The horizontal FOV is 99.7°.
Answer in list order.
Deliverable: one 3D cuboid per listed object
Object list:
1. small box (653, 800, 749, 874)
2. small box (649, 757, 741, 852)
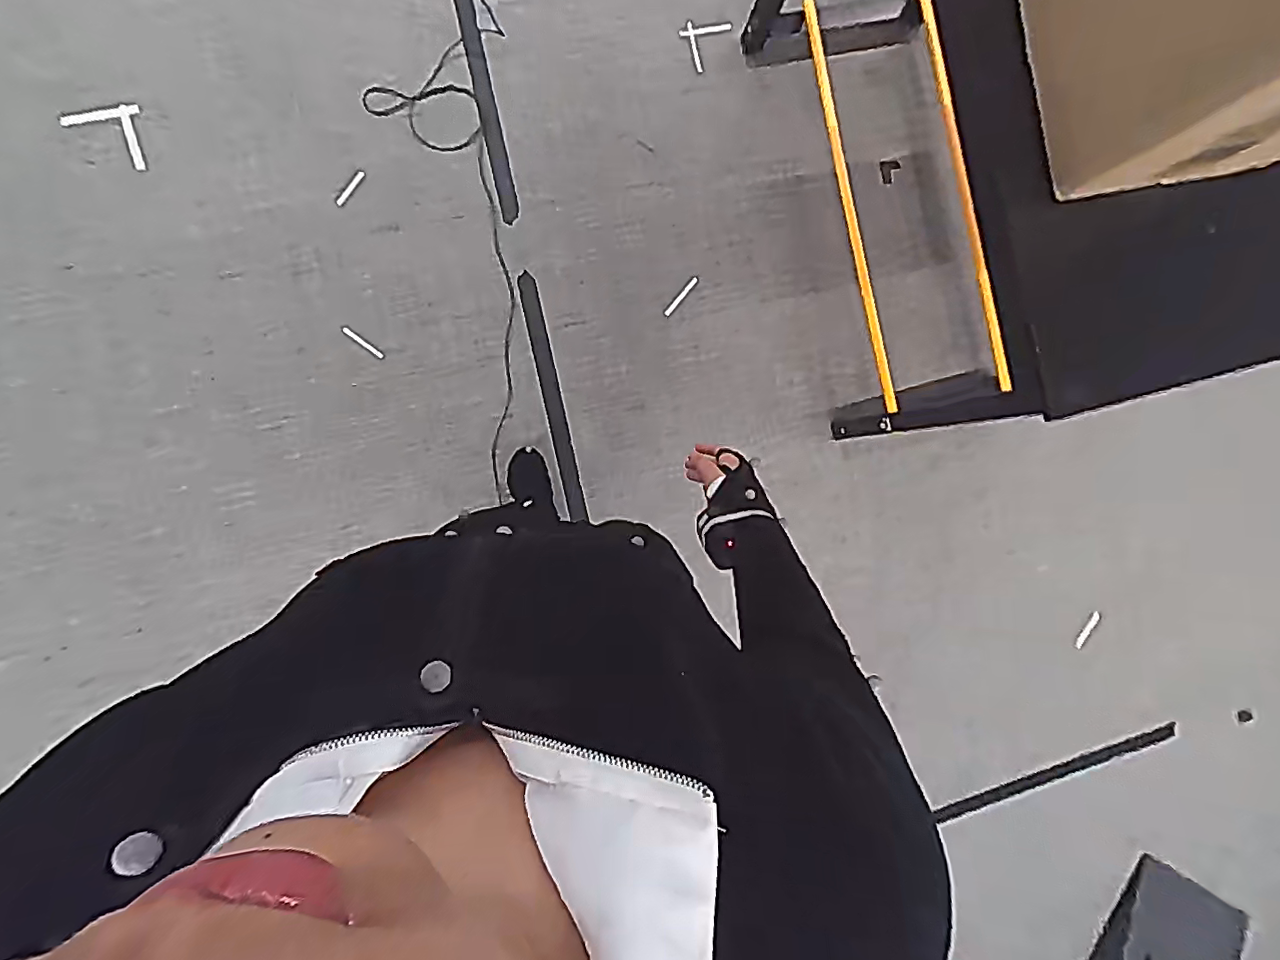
[{"bbox_3d":[0.142,0.866,1.225,0.168,0.176,0.179,-22,94,-8],"label":"small box"},{"bbox_3d":[0.135,0.859,1.389,0.168,0.176,0.179,-21,93,-9],"label":"small box"}]
